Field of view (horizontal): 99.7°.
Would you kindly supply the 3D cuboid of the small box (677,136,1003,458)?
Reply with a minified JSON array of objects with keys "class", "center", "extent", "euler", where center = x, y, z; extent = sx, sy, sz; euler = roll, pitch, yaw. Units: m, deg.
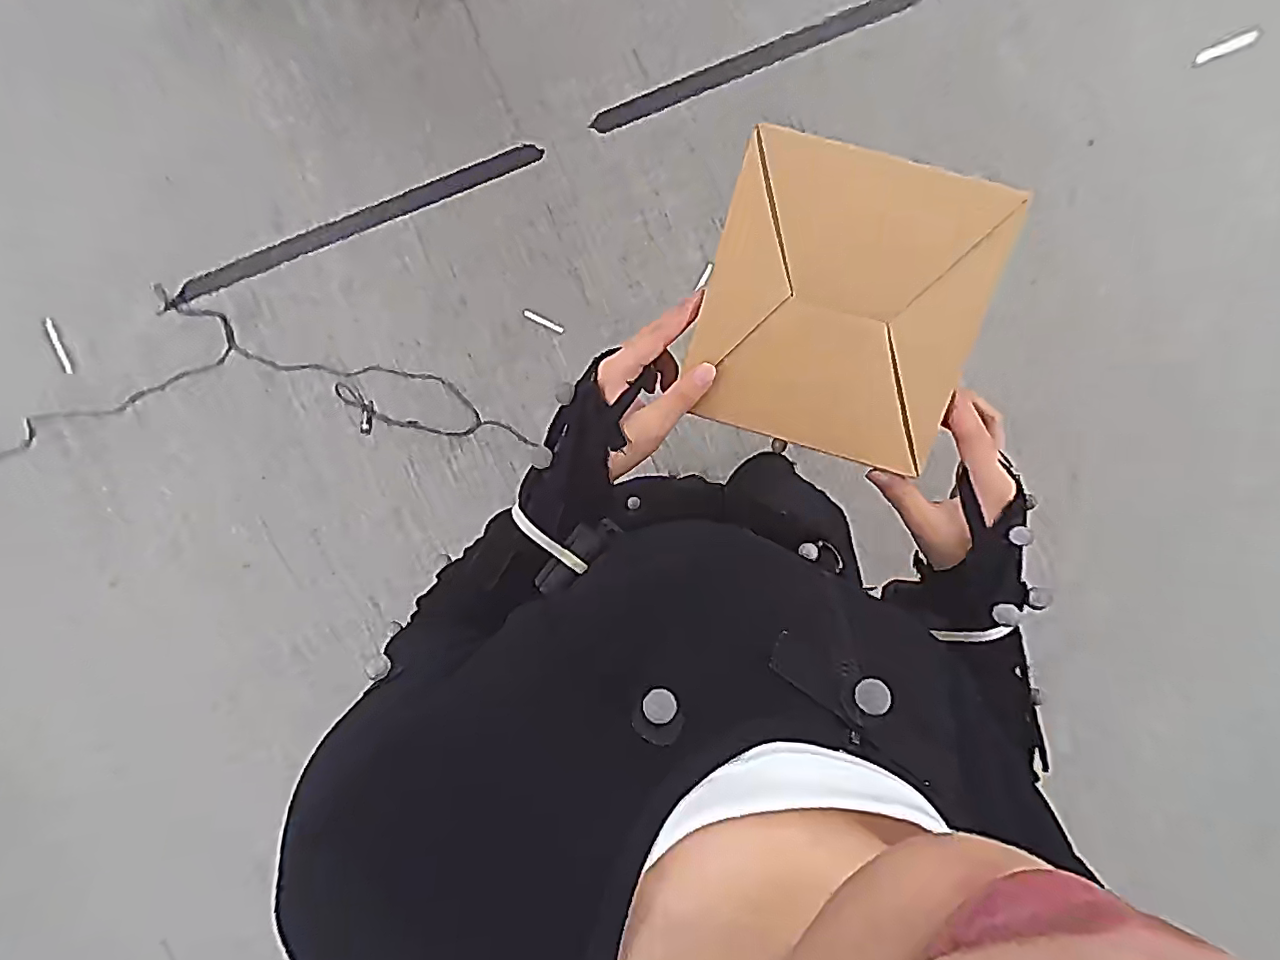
[{"class":"small box","center":[0.128,-0.122,0.416],"extent":[0.168,0.176,0.179],"euler":[16,102,2]}]
